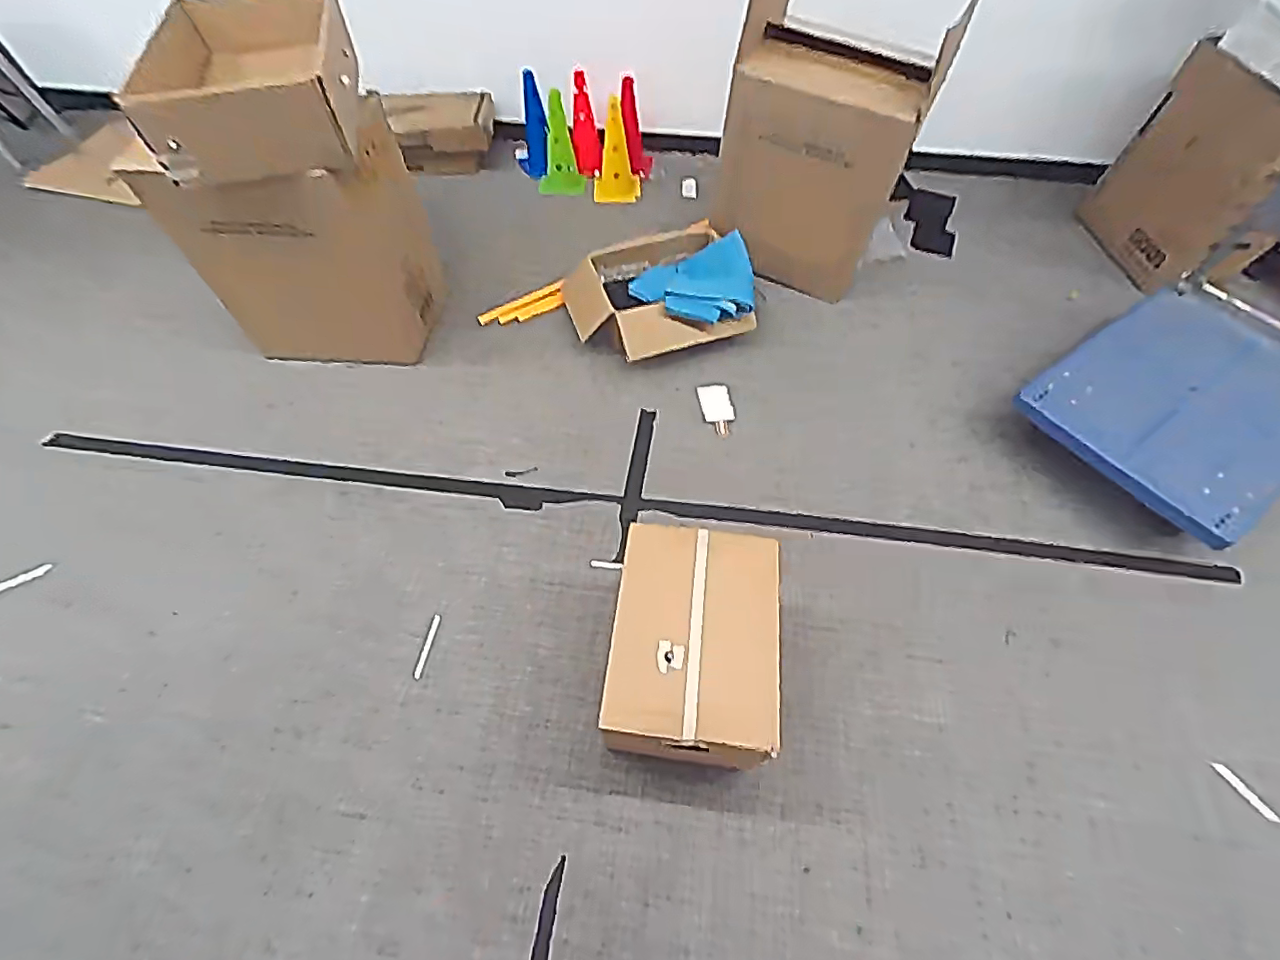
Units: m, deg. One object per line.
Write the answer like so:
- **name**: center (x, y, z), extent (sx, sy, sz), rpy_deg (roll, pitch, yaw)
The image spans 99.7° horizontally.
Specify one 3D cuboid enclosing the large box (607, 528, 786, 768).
- **large box**: center (0.112, 0.358, 1.146), extent (0.320, 0.320, 0.408), rpy_deg (6, 58, 4)
